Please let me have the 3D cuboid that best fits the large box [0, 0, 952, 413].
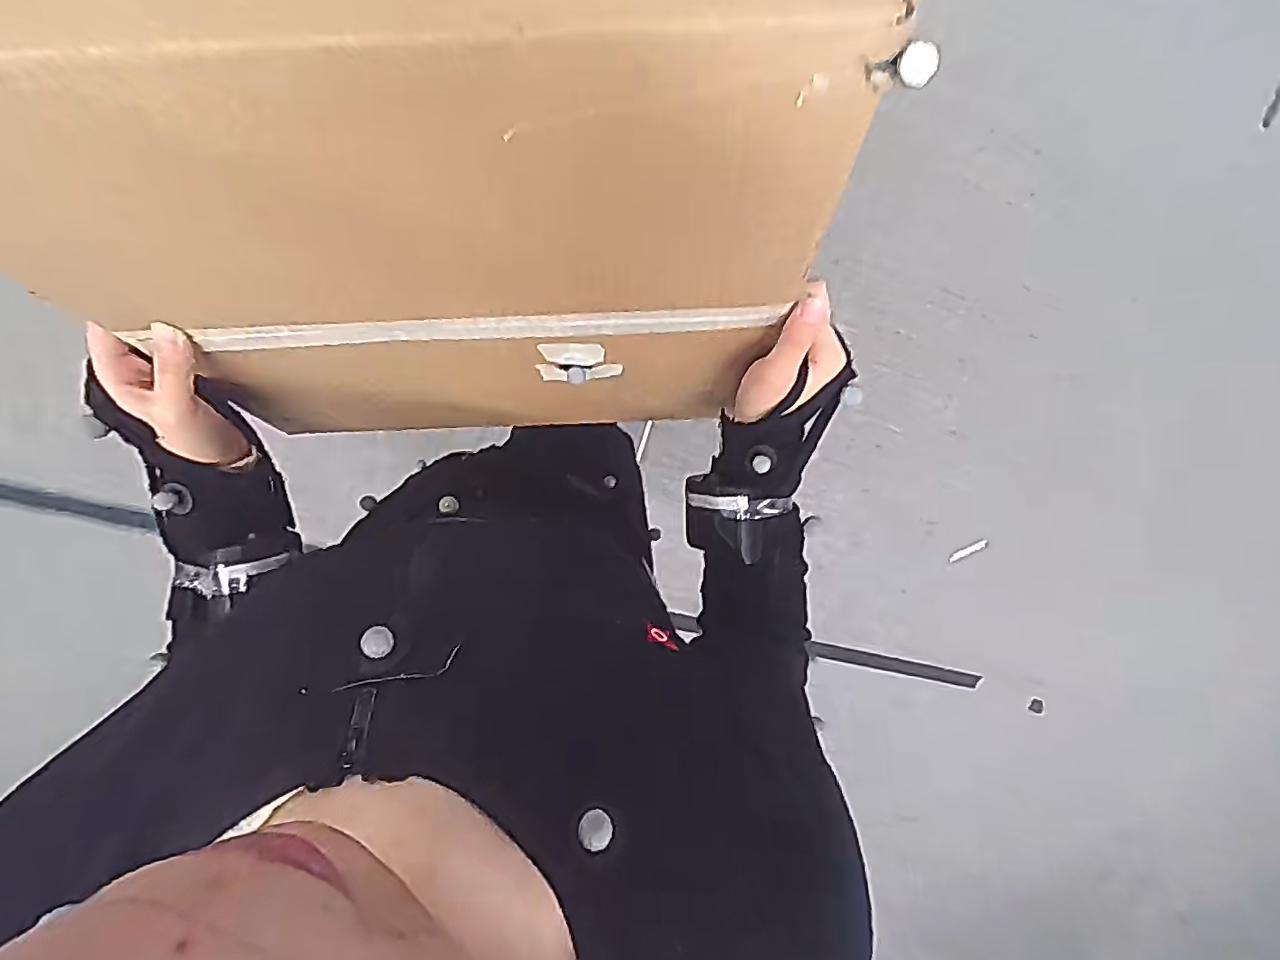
[{"bbox_3d":[-0.096,-0.253,0.351,0.408,0.320,0.320,-2,73,0],"label":"large box"}]
